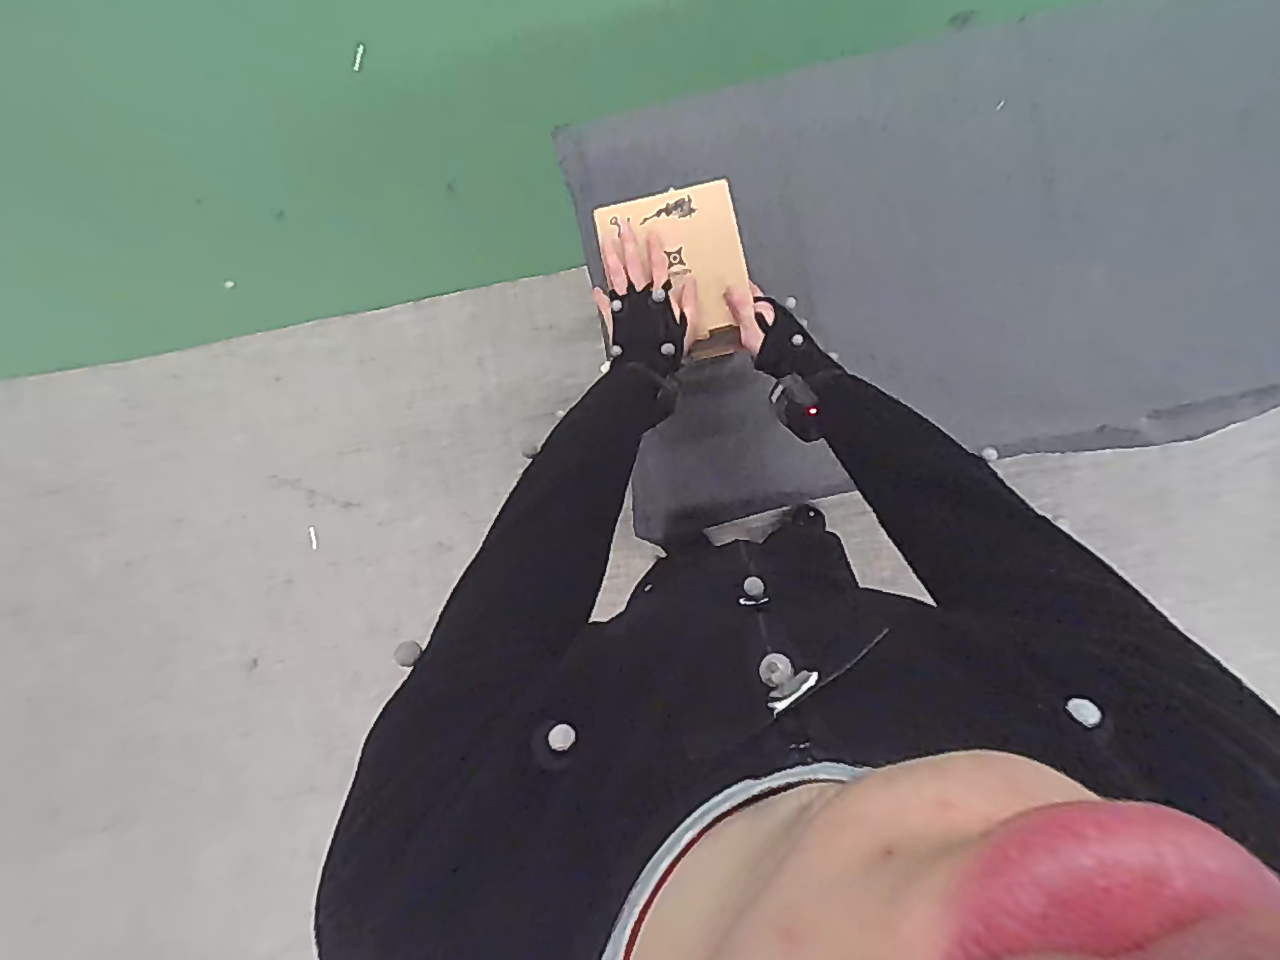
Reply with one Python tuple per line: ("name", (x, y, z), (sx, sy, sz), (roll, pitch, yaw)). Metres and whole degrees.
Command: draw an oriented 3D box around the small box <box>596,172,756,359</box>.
("small box", (0.044, -0.266, 0.718), (0.168, 0.176, 0.179), (-12, 93, 0))
